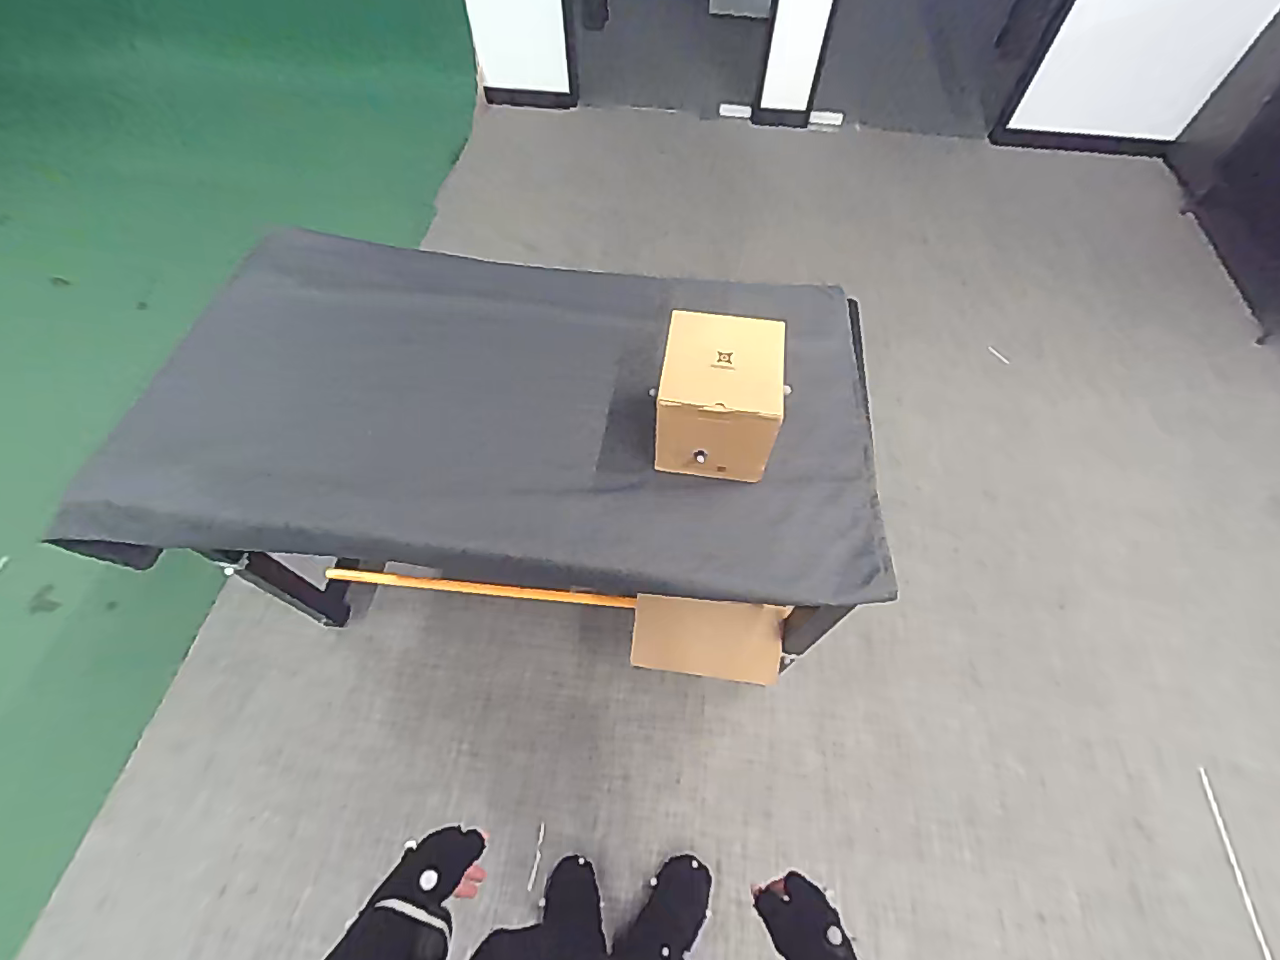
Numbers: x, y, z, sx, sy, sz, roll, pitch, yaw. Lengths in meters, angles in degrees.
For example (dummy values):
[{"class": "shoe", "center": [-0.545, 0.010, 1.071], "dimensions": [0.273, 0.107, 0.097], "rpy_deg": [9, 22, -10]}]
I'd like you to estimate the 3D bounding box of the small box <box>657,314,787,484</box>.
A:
[{"class": "small box", "center": [0.118, -0.117, 0.811], "dimensions": [0.168, 0.176, 0.179], "rpy_deg": [7, 59, 4]}]
